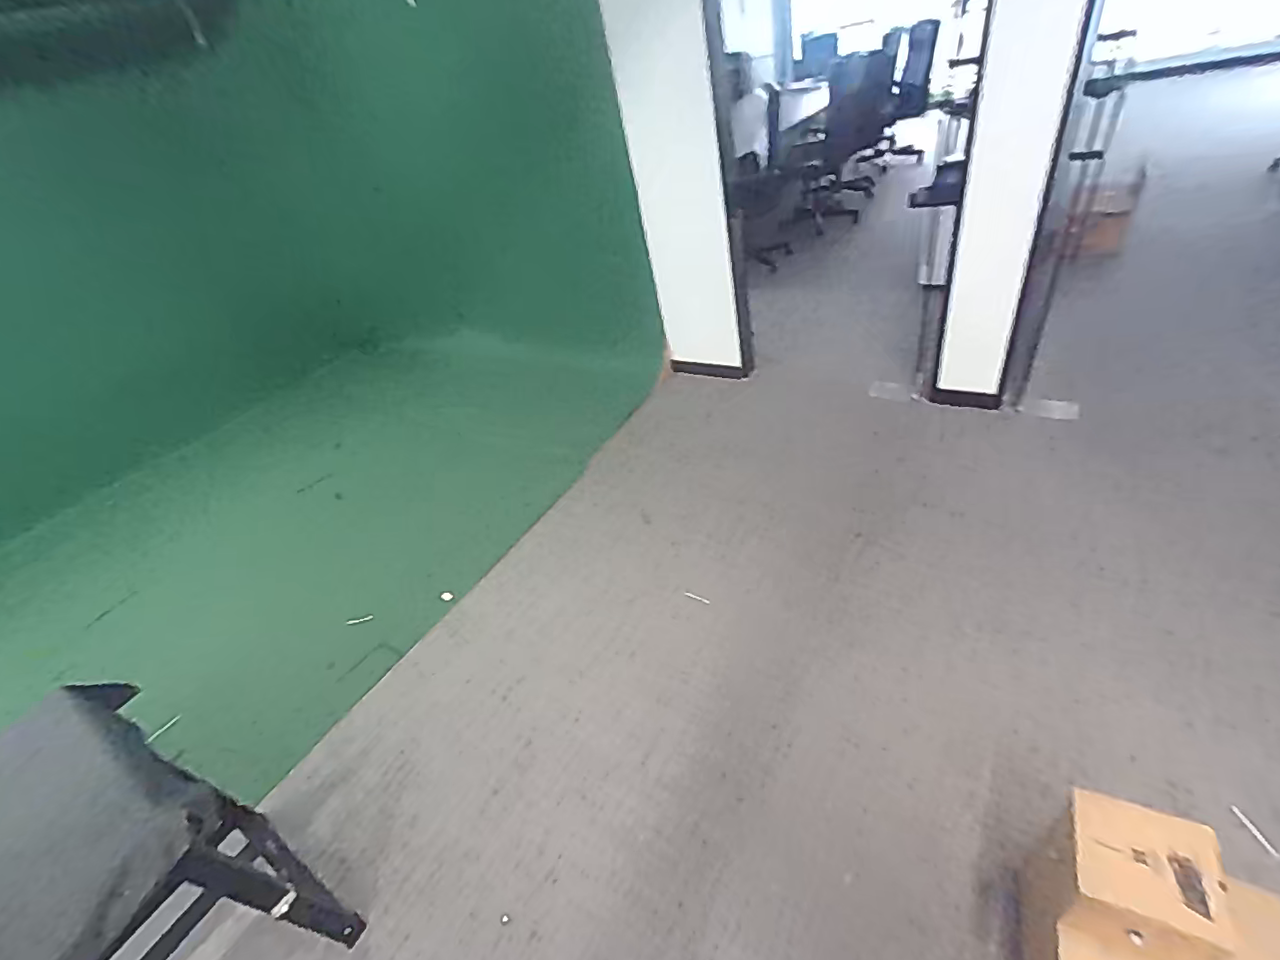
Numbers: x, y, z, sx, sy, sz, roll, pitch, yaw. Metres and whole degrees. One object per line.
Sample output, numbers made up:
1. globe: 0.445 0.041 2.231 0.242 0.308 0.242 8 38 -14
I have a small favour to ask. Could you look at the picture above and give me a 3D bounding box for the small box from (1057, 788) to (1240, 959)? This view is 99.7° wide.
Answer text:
1. small box: 0.798 0.643 0.871 0.179 0.176 0.168 6 43 32
